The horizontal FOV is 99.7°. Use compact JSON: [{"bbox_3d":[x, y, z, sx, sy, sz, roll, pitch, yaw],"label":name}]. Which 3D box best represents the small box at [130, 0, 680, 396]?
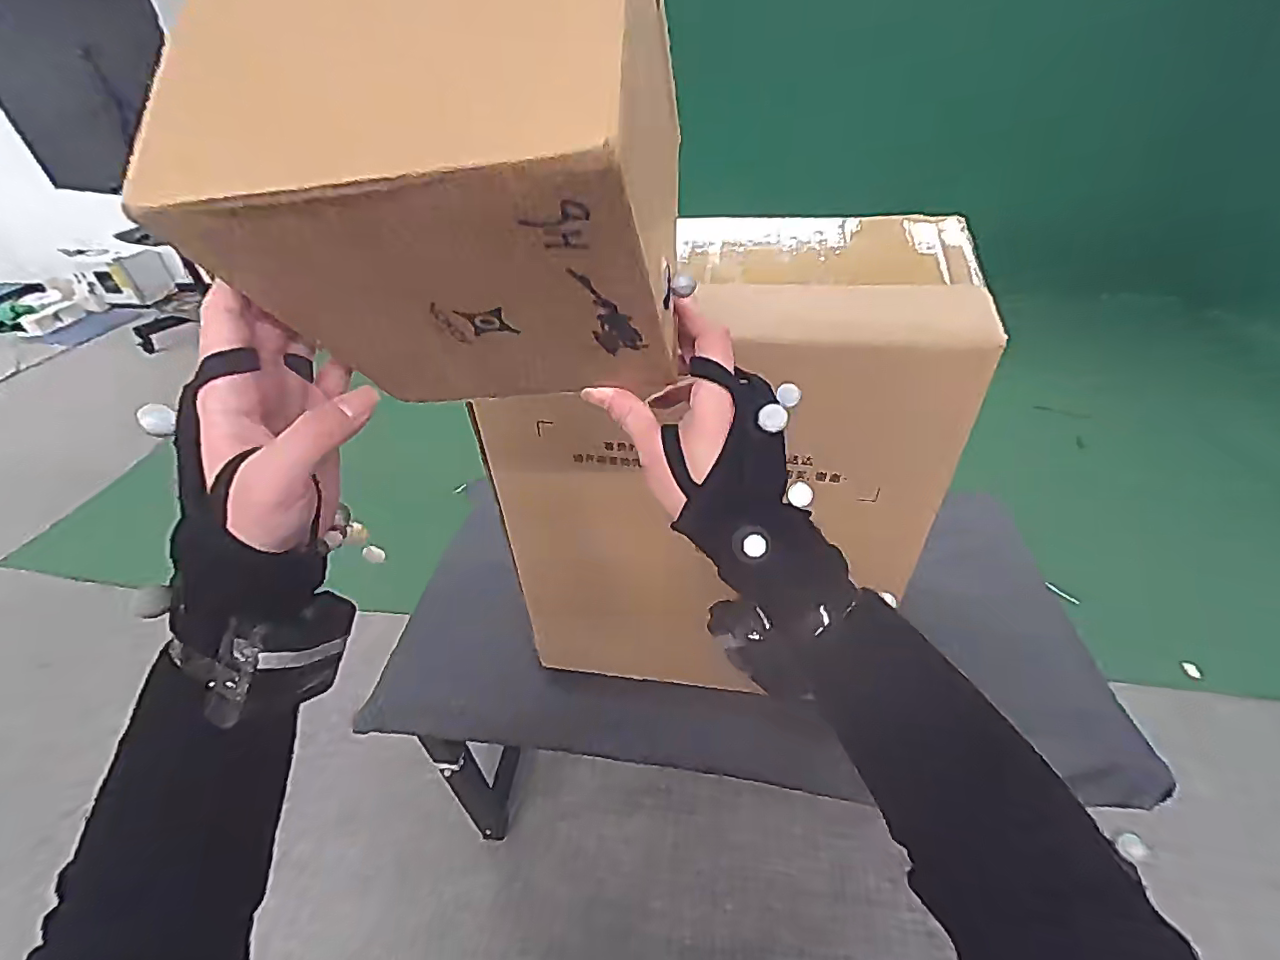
[{"bbox_3d":[-0.075,-0.153,0.266,0.179,0.168,0.176,-1,76,10],"label":"small box"}]
